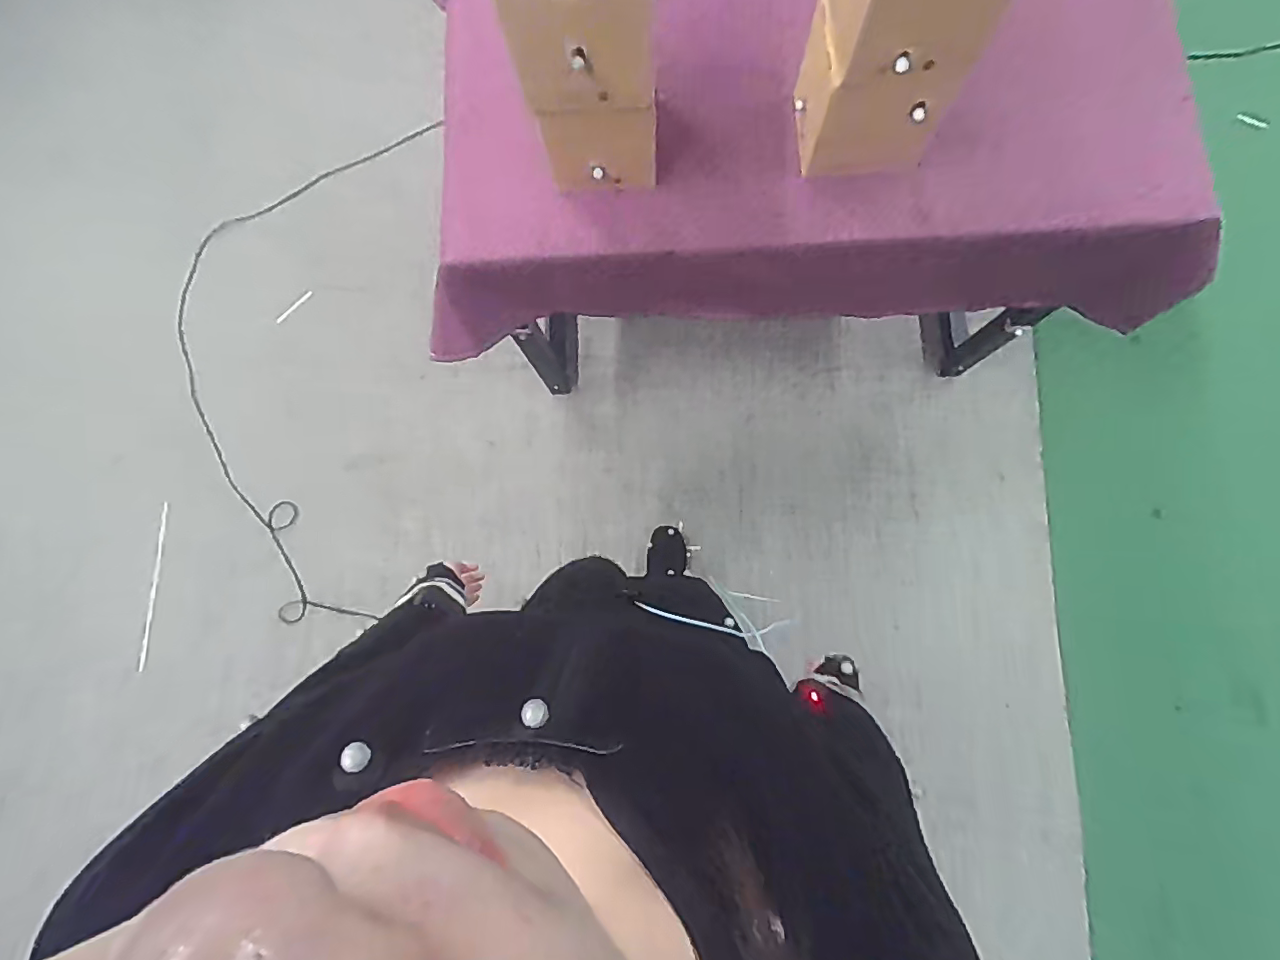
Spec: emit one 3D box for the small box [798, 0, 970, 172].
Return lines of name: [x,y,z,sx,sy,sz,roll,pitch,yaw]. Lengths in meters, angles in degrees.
small box: [0.344,-0.584,0.794,0.179,0.176,0.168,-2,81,3]

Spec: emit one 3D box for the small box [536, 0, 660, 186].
small box: [-0.054,-0.578,0.815,0.168,0.176,0.179,0,82,3]

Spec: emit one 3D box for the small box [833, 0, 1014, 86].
small box: [0.334,-0.611,0.633,0.168,0.176,0.179,-3,82,4]

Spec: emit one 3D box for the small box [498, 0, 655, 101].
small box: [-0.067,-0.595,0.652,0.168,0.176,0.179,1,82,3]
